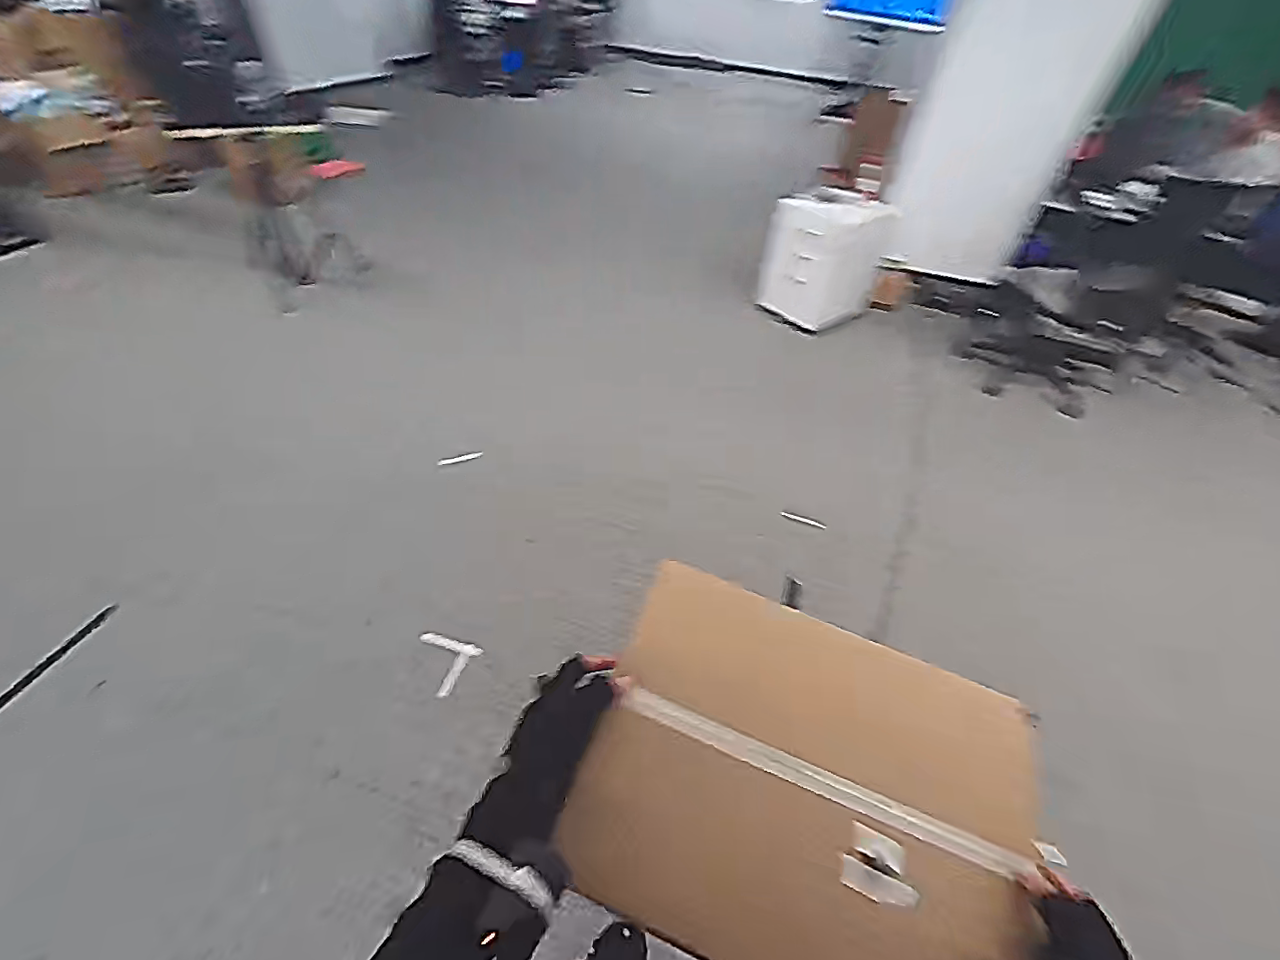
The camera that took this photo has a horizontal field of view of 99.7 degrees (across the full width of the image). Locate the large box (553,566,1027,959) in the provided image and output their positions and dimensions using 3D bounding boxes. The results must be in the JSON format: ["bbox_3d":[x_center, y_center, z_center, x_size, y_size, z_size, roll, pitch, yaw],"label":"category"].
[{"bbox_3d":[0.146,0.364,0.633,0.408,0.320,0.320,22,56,10],"label":"large box"}]
